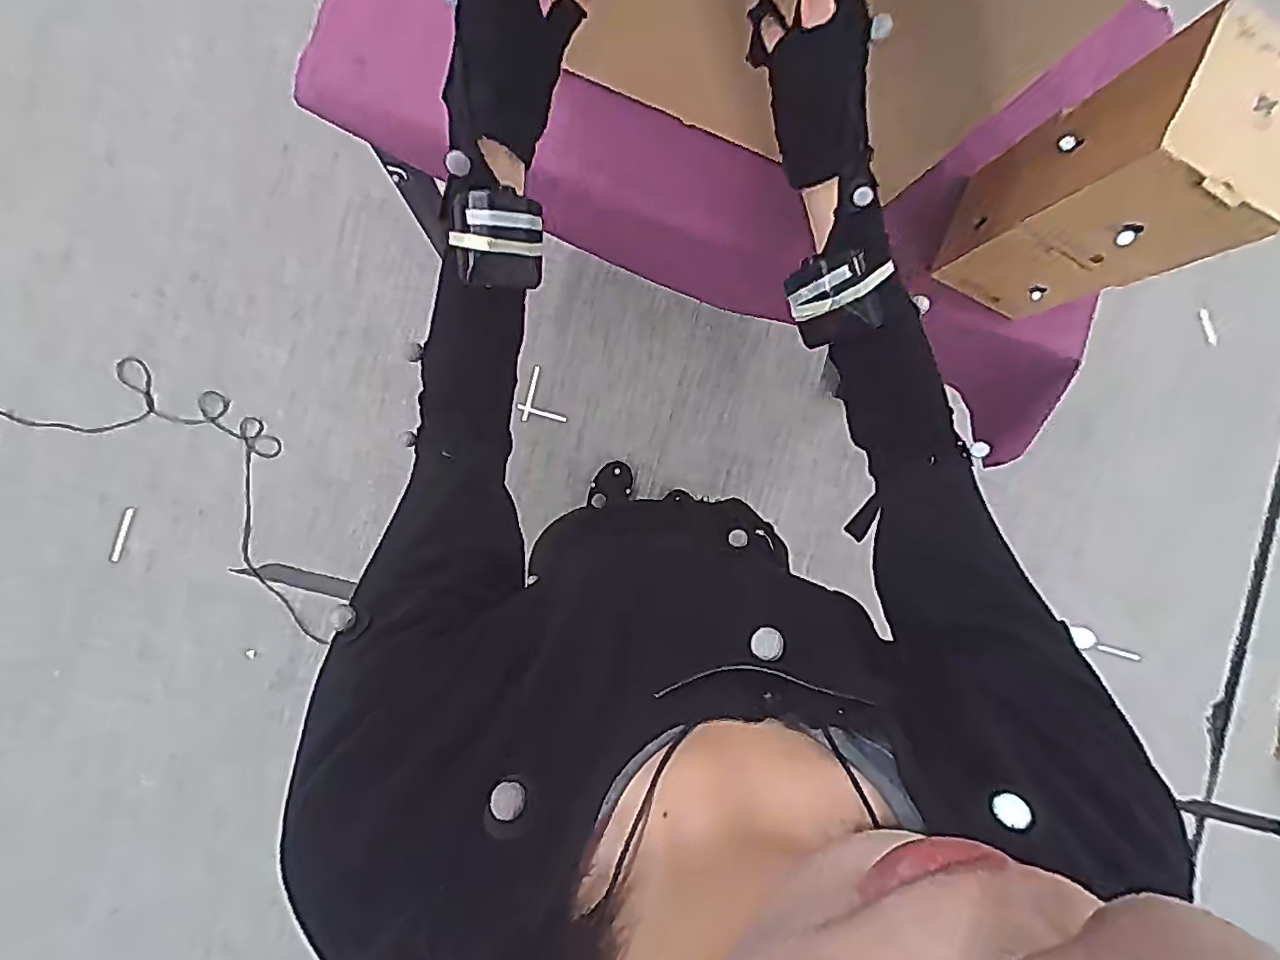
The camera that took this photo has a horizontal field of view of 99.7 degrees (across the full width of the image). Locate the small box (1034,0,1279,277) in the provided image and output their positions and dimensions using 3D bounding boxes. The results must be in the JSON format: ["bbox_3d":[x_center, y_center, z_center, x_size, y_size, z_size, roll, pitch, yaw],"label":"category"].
[{"bbox_3d":[0.596,-0.361,0.607,0.168,0.176,0.179,27,88,-8],"label":"small box"}]

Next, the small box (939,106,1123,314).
[{"bbox_3d":[0.567,-0.364,0.769,0.168,0.176,0.179,24,86,-8],"label":"small box"}]
